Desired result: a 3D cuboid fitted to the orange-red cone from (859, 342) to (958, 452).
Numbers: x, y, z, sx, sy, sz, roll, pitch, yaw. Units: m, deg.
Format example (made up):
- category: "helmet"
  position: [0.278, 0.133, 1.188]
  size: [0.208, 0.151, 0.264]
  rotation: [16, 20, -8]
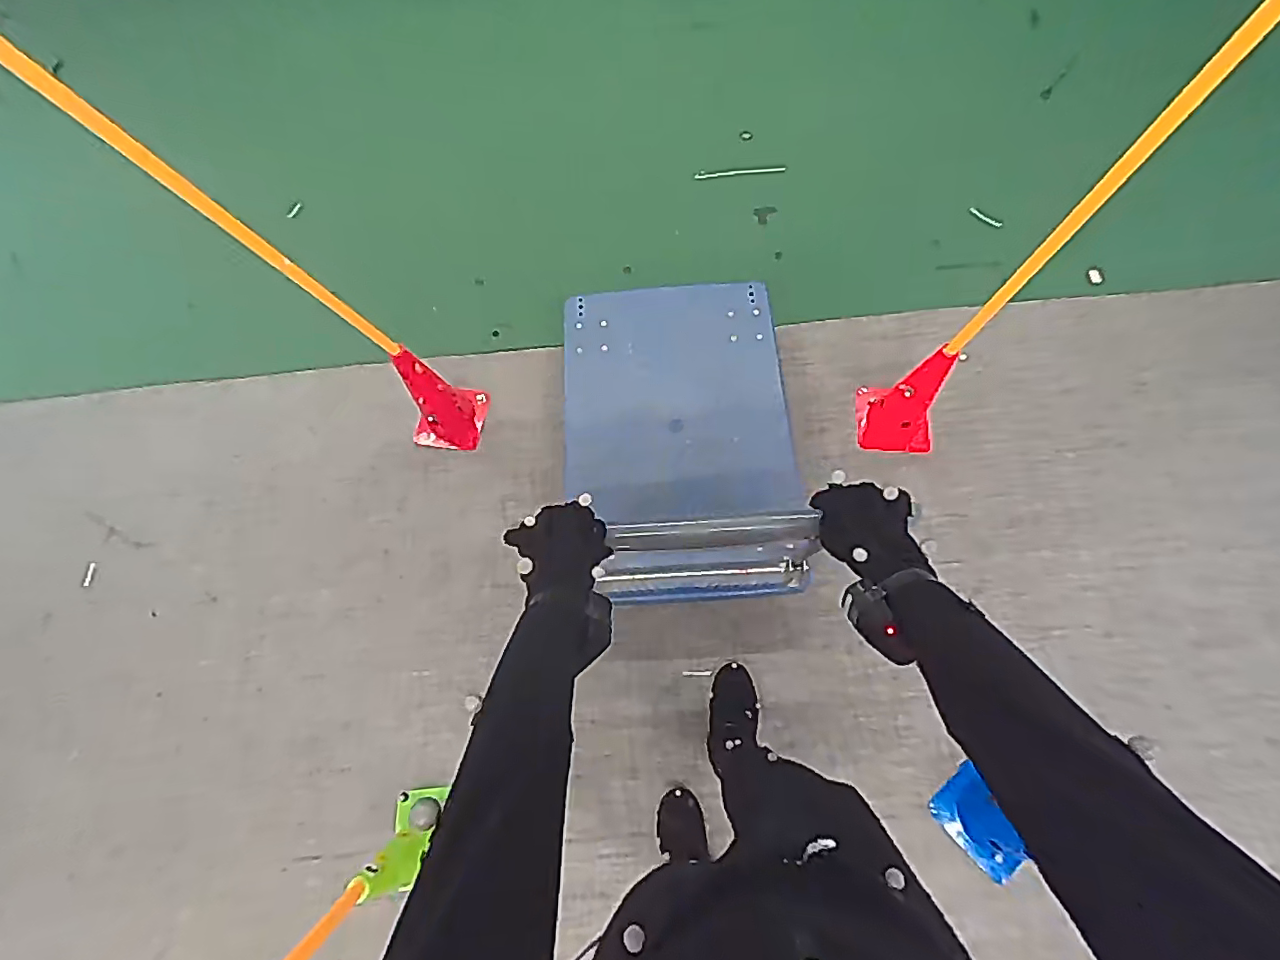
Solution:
- category: "orange-red cone"
  position: [0.711, -0.232, 1.377]
  size: [0.198, 0.360, 0.199]
  rotation: [5, 71, 7]
